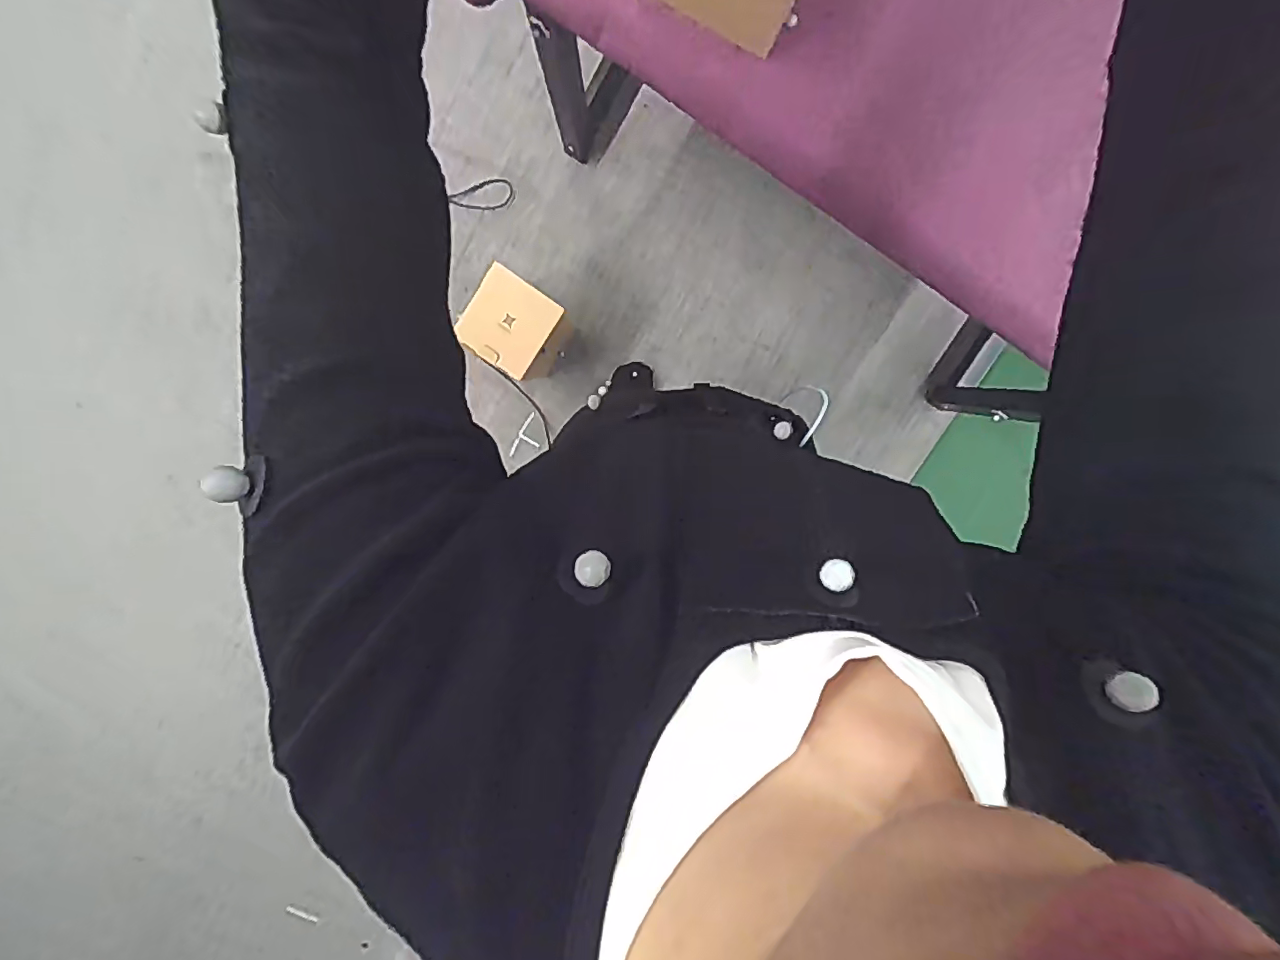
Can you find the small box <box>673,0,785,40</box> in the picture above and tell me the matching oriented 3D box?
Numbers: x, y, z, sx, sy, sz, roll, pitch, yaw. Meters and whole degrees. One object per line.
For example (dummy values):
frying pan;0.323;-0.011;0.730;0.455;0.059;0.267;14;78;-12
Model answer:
small box;0.104;-0.595;0.537;0.179;0.176;0.168;25;99;-7
